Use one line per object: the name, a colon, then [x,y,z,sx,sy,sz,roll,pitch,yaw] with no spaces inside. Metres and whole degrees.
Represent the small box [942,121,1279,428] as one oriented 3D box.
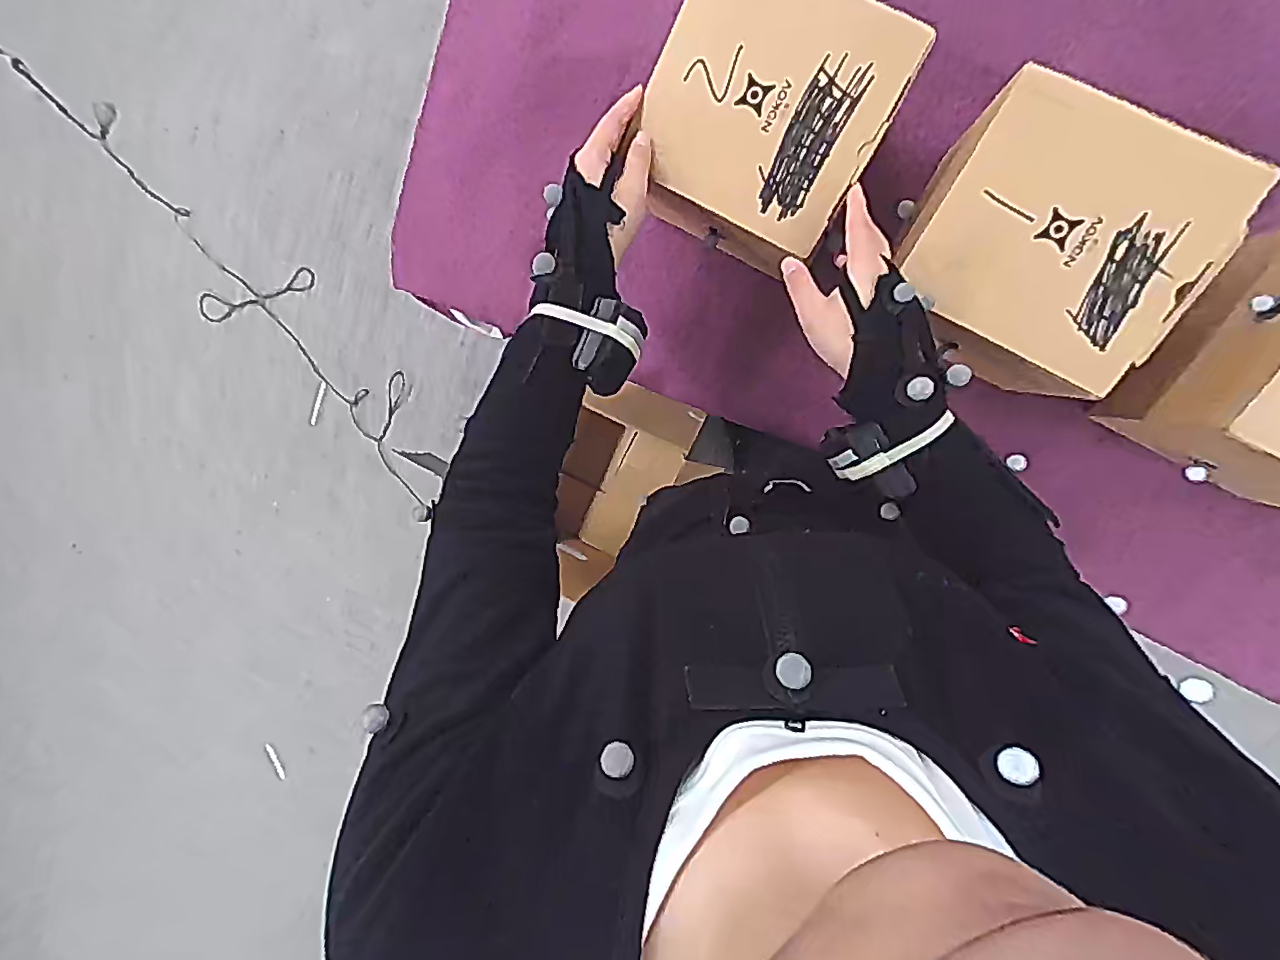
small box: [0.365,-0.163,0.431,0.179,0.176,0.168,11,144,15]
